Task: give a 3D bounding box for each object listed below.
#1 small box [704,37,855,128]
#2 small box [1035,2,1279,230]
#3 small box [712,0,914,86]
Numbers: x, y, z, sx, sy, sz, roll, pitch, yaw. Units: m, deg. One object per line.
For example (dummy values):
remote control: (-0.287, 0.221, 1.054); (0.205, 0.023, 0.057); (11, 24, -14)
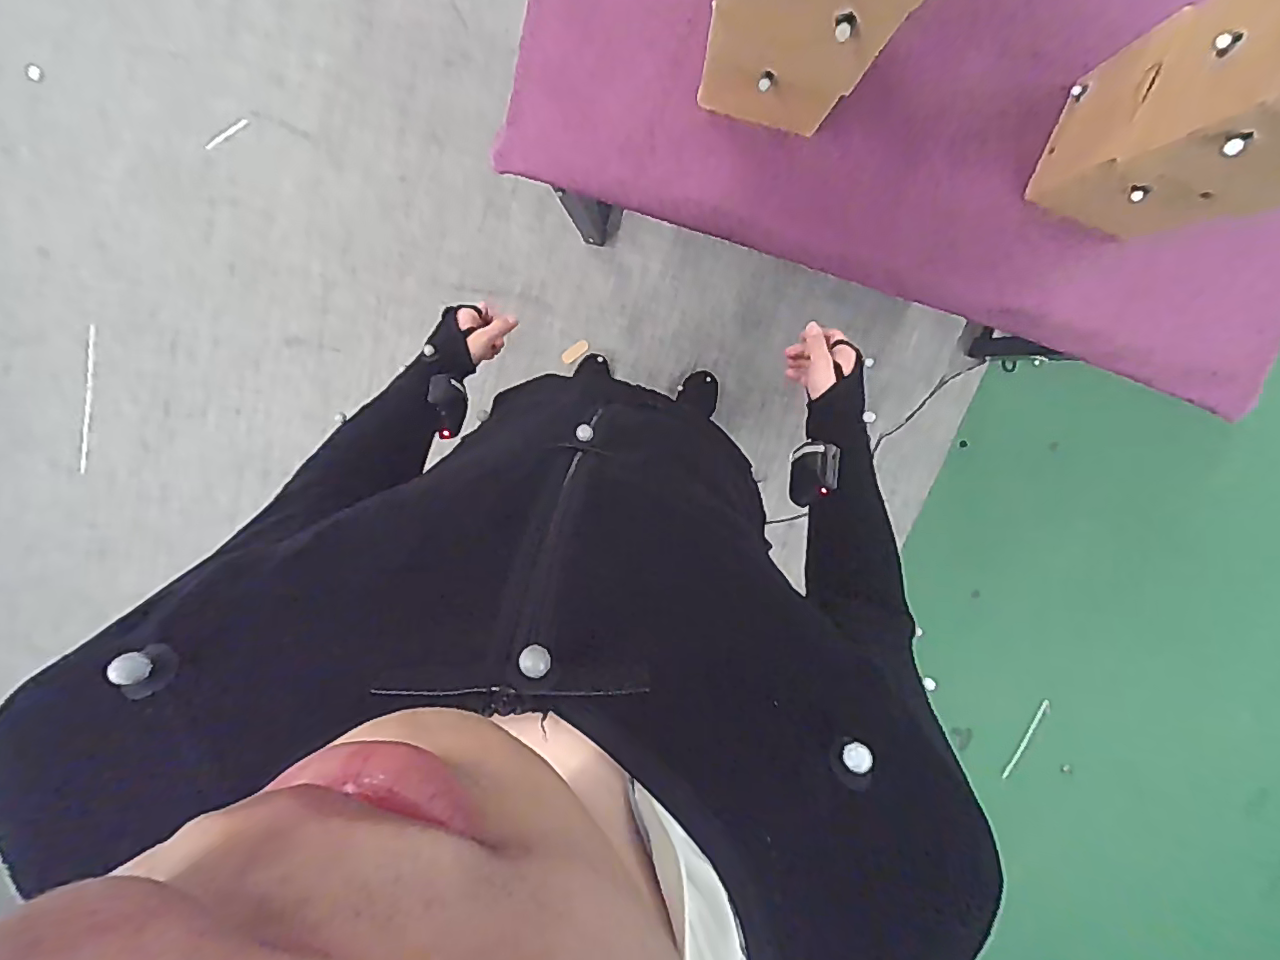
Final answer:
small box: (0.190, -0.583, 0.689); (0.179, 0.176, 0.168); (15, 103, 0)
small box: (0.669, -0.446, 0.697); (0.179, 0.176, 0.168); (19, 103, -2)
small box: (0.182, -0.531, 0.532); (0.179, 0.176, 0.168); (17, 103, -1)
